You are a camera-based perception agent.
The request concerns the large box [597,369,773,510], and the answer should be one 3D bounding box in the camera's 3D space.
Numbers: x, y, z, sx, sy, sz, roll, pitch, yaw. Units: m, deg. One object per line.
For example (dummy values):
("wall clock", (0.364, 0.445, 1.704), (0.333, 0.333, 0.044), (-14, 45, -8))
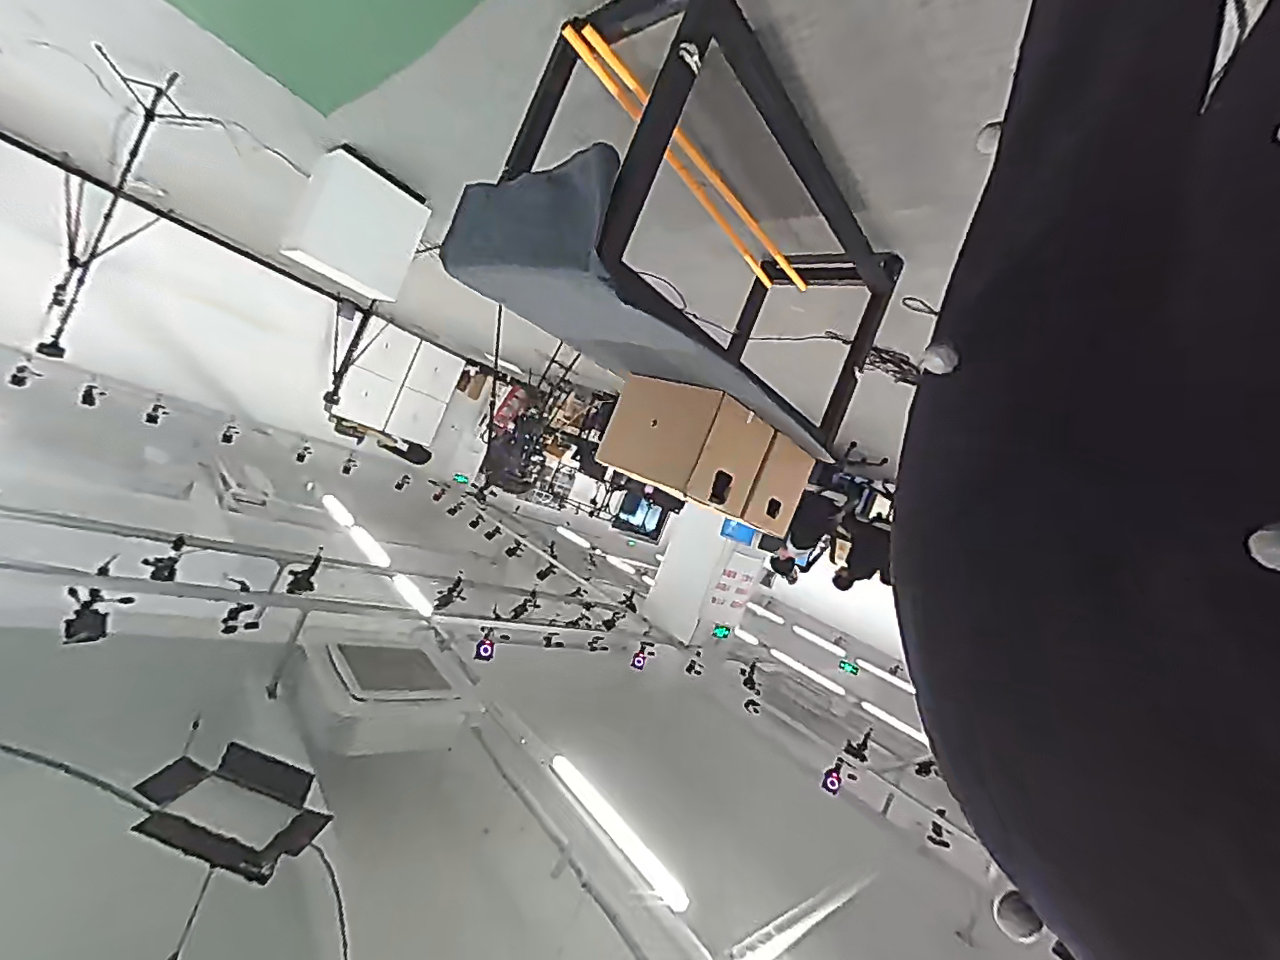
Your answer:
("large box", (0.138, -0.135, 1.717), (0.408, 0.320, 0.320), (20, 179, 45))
